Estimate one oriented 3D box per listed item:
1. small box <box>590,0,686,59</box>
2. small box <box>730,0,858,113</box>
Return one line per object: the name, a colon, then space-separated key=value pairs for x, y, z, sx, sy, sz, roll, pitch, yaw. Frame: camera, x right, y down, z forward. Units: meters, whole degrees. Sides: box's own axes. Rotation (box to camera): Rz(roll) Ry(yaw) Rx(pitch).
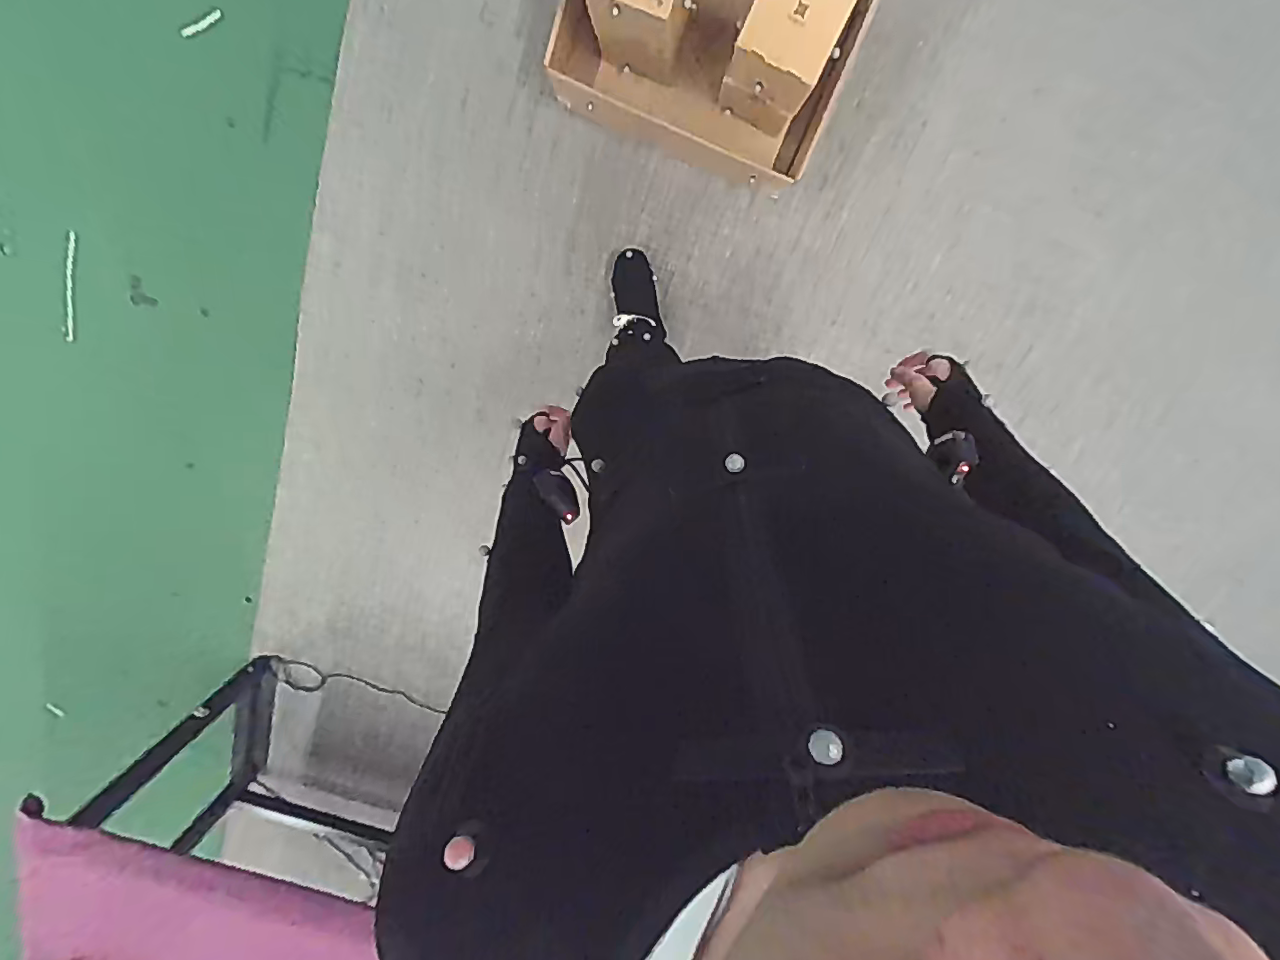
small box: x=0.004 y=-0.951 z=1.015 sx=0.168 sy=0.176 sz=0.179 roll=19 pitch=107 yaw=-2
small box: x=0.287 y=-0.854 z=1.037 sx=0.168 sy=0.176 sz=0.179 roll=25 pitch=109 yaw=-6
